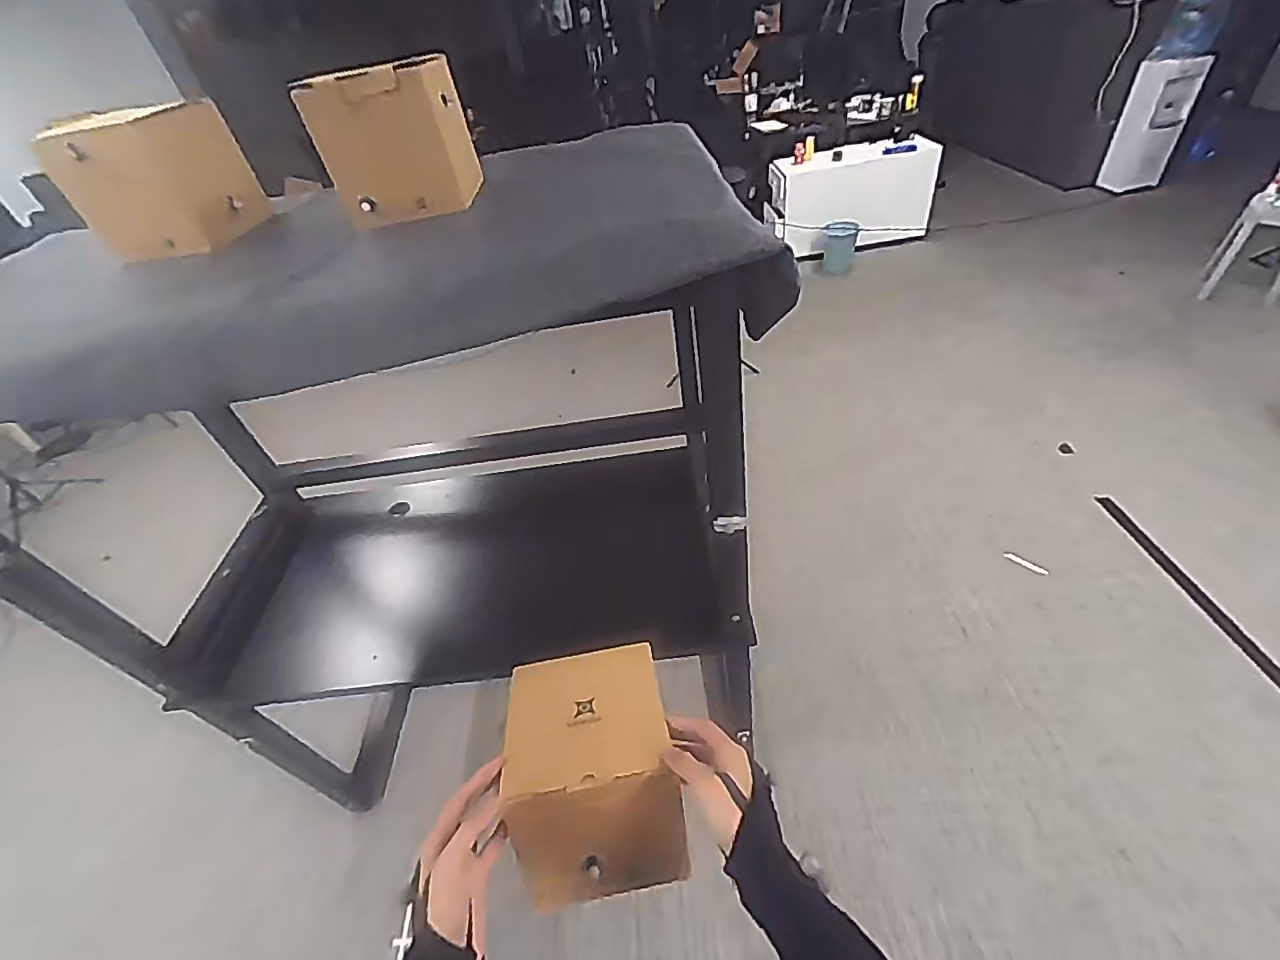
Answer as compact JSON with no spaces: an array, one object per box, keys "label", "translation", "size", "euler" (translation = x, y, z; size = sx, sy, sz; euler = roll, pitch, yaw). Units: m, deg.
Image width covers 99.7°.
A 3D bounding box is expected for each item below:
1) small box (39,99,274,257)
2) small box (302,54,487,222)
[{"label":"small box","translation":[-0.707,-0.458,0.824],"size":[0.168,0.176,0.179],"euler":[-4,42,7]},{"label":"small box","translation":[-0.333,-0.486,0.778],"size":[0.168,0.176,0.179],"euler":[-9,41,2]}]
